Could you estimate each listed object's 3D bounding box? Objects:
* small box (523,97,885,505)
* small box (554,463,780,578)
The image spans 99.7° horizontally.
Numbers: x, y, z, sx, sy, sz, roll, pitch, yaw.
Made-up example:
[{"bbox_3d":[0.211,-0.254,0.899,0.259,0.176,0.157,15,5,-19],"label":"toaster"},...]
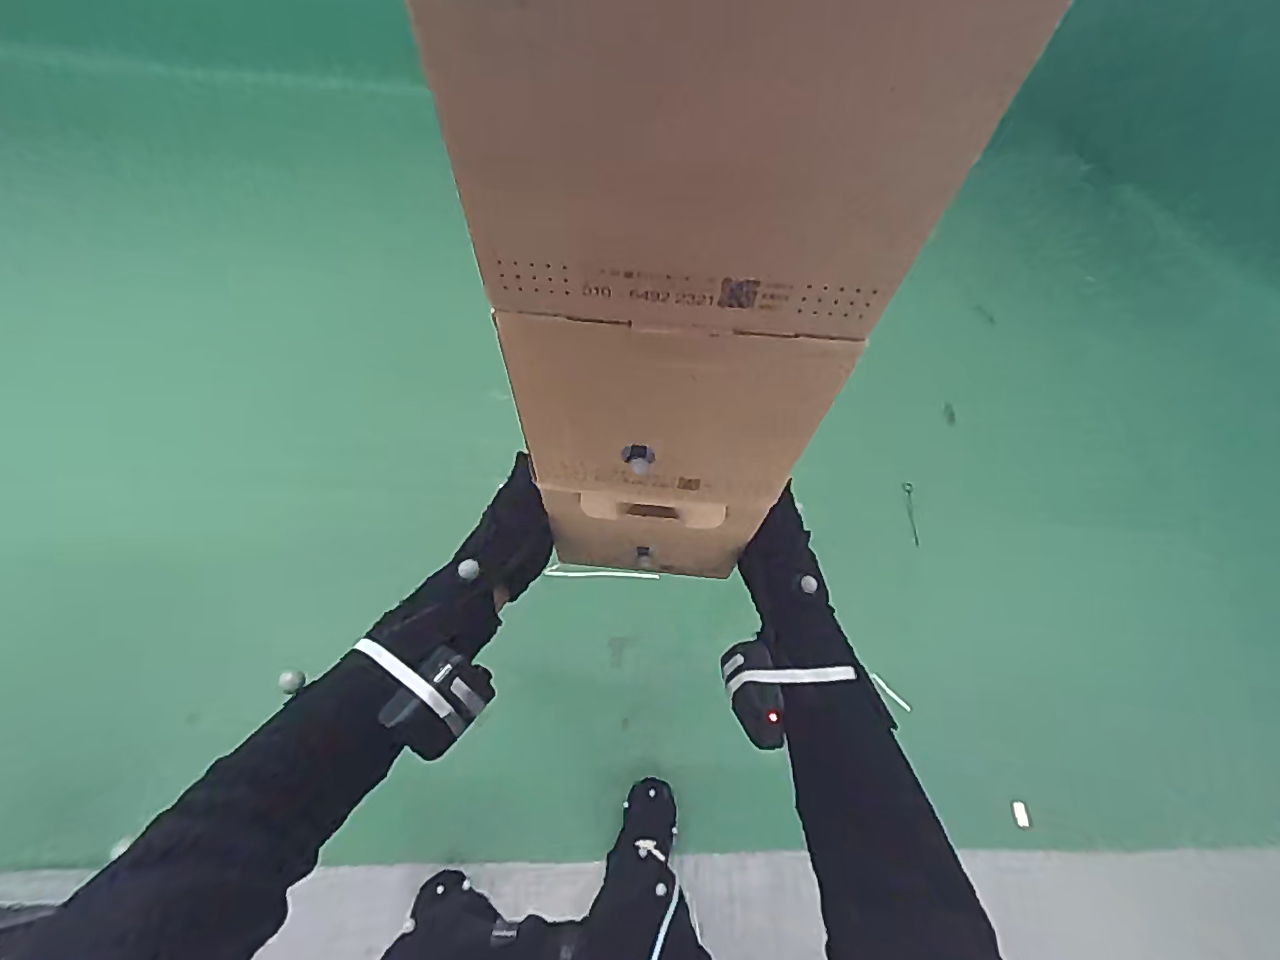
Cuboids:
[{"bbox_3d":[0.029,-0.103,0.348,0.168,0.176,0.179,4,62,-1],"label":"small box"},{"bbox_3d":[0.022,-0.026,0.493,0.168,0.176,0.179,6,62,0],"label":"small box"}]
